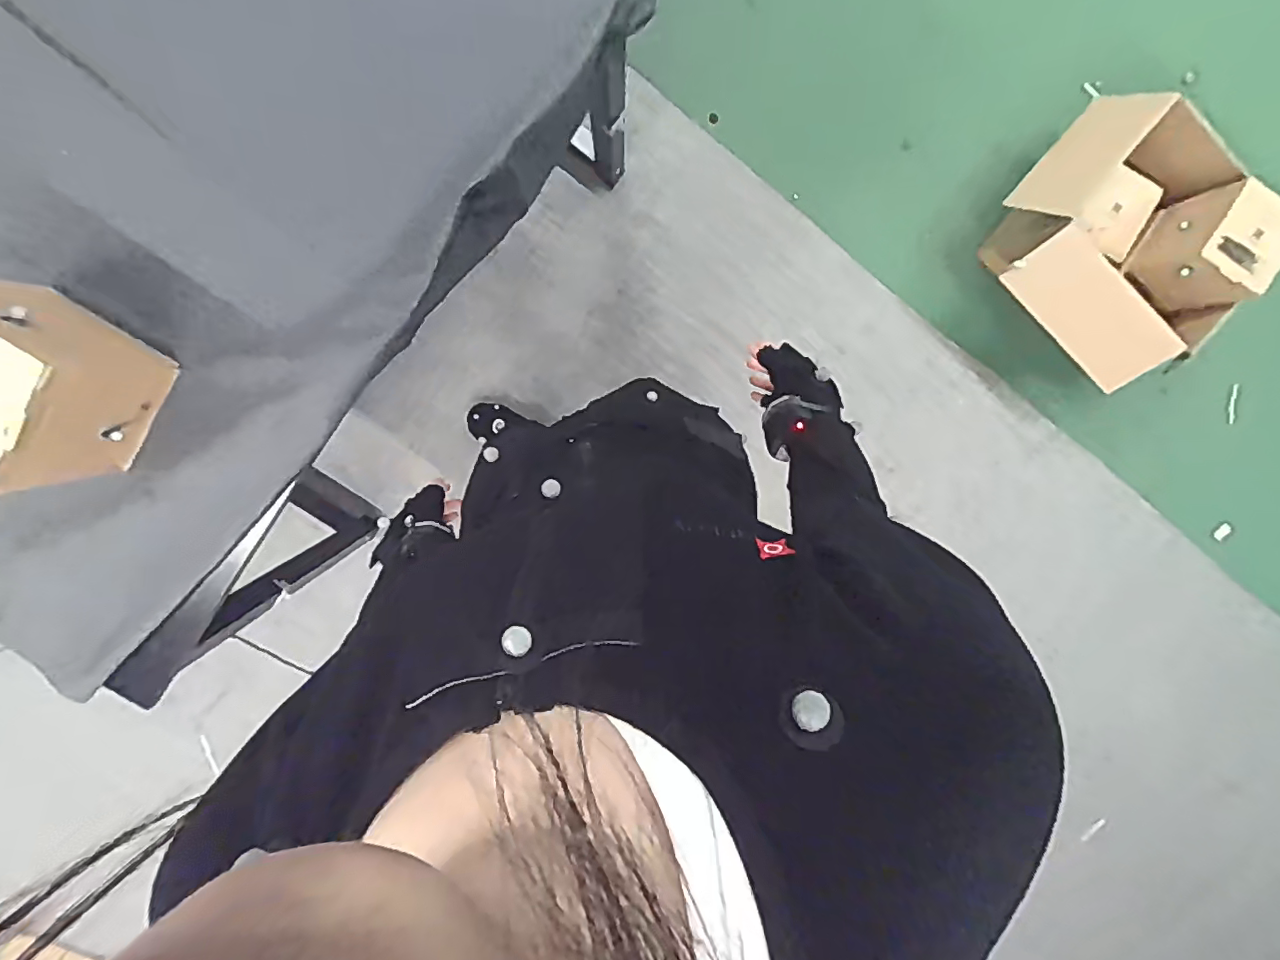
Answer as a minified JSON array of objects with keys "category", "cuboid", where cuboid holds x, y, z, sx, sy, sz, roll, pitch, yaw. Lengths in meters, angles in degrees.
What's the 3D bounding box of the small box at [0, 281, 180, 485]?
[{"category":"small box","cuboid":[-0.702,-0.114,0.620,0.179,0.176,0.168,33,97,-9]}]
